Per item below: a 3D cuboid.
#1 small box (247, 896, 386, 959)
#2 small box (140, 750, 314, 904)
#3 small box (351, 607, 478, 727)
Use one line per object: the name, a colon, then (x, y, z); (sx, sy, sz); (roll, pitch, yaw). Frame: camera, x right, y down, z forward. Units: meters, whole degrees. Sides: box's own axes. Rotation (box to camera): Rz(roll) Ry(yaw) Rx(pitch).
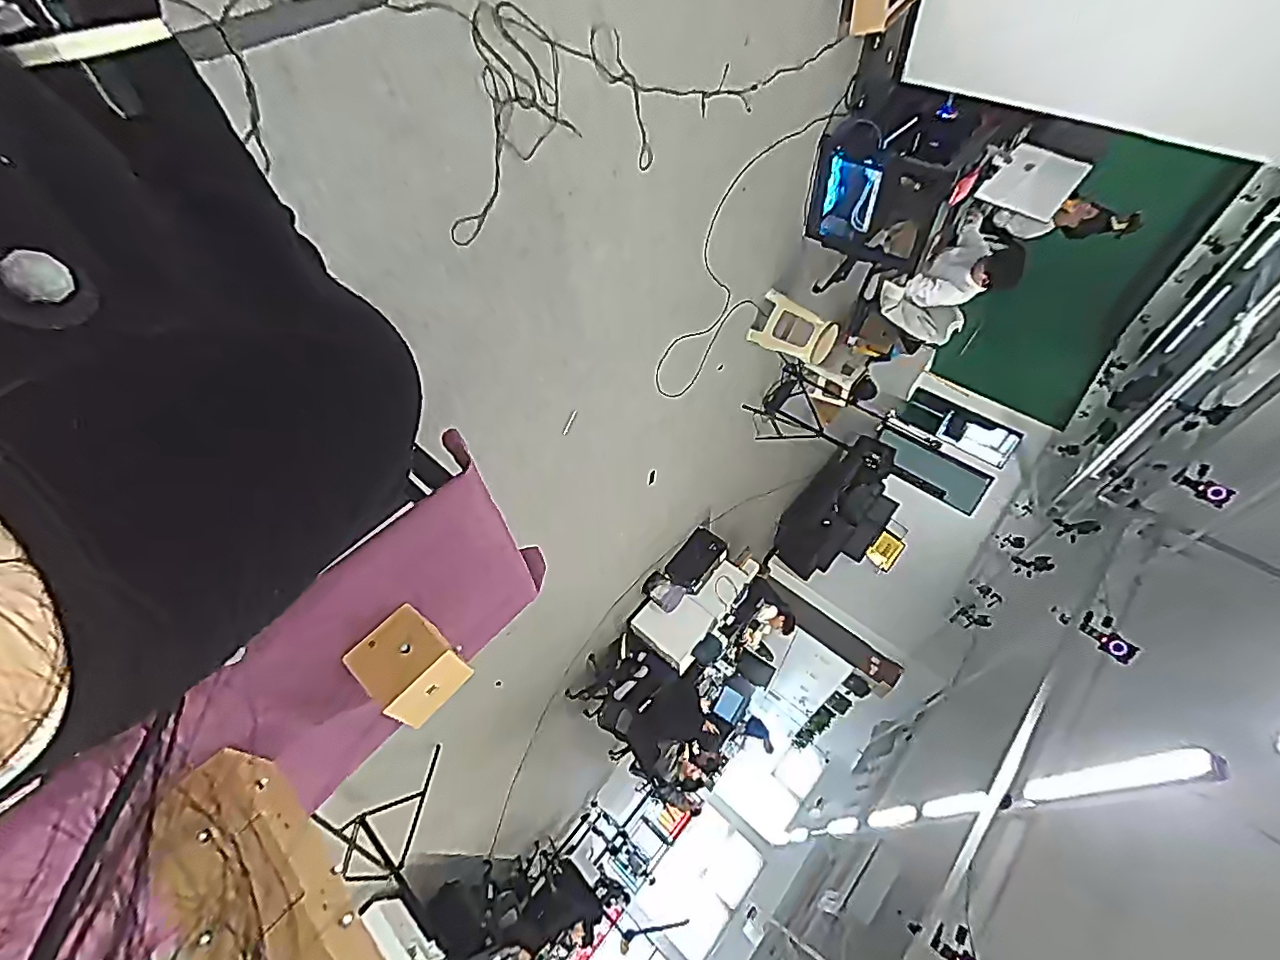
small box: (-0.532, 0.817, 0.865); (0.179, 0.176, 0.168); (-43, 152, -25)
small box: (-0.769, 0.644, 1.014); (0.179, 0.176, 0.168); (-42, 151, -24)
small box: (-0.499, 0.410, 1.201); (0.168, 0.176, 0.179); (-44, 153, -22)
